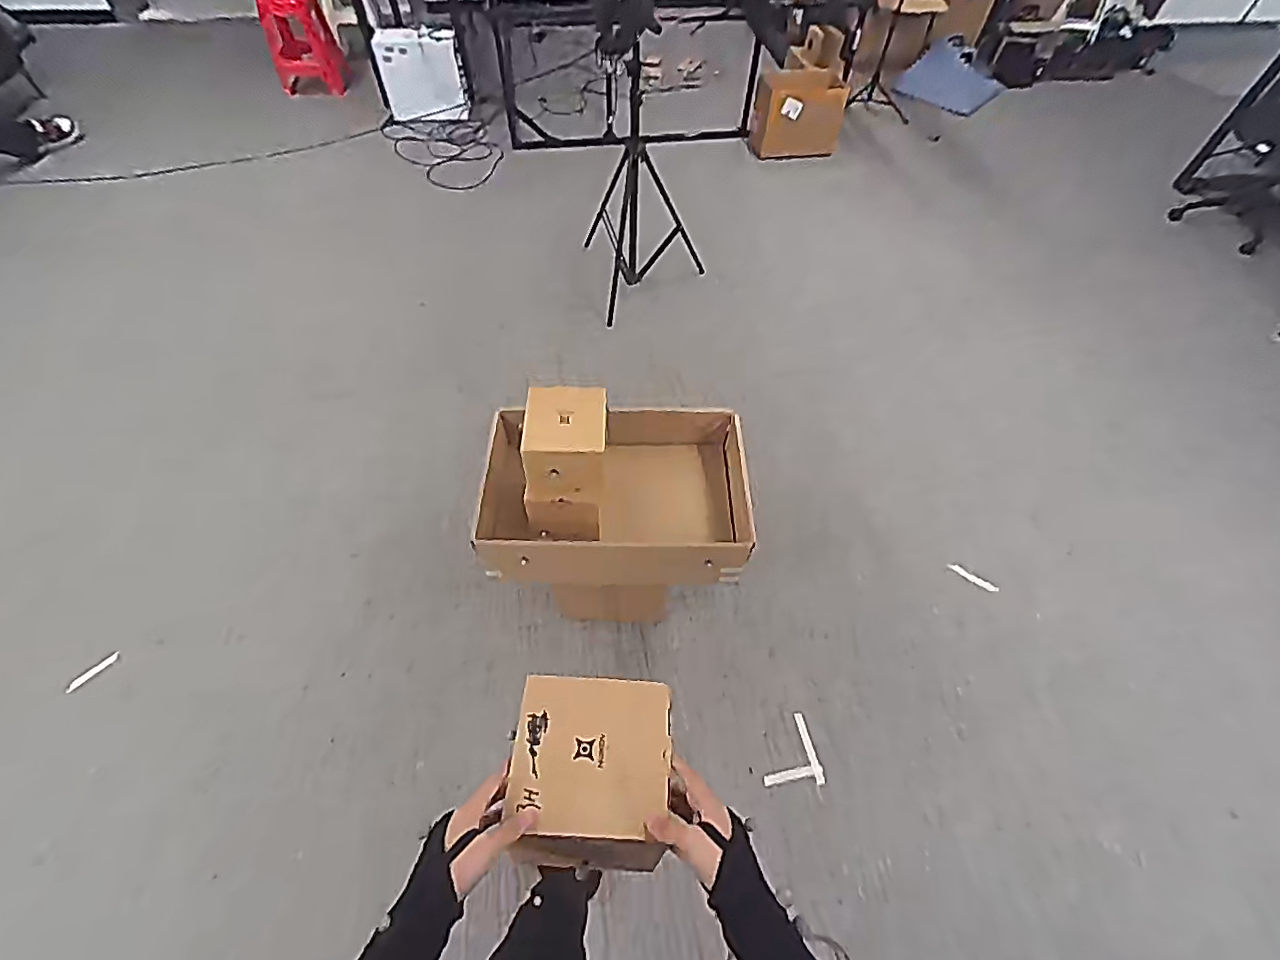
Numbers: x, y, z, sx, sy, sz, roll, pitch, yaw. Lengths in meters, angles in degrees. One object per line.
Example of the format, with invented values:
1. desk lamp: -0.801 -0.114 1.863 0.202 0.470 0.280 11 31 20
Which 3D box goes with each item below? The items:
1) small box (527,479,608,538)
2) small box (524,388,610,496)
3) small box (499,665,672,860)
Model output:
1. small box: -0.163 0.025 1.290 0.168 0.176 0.179 3 54 0
2. small box: -0.149 -0.078 1.164 0.168 0.176 0.179 0 54 -3
3. small box: -0.060 0.347 0.659 0.179 0.176 0.168 6 45 -2
